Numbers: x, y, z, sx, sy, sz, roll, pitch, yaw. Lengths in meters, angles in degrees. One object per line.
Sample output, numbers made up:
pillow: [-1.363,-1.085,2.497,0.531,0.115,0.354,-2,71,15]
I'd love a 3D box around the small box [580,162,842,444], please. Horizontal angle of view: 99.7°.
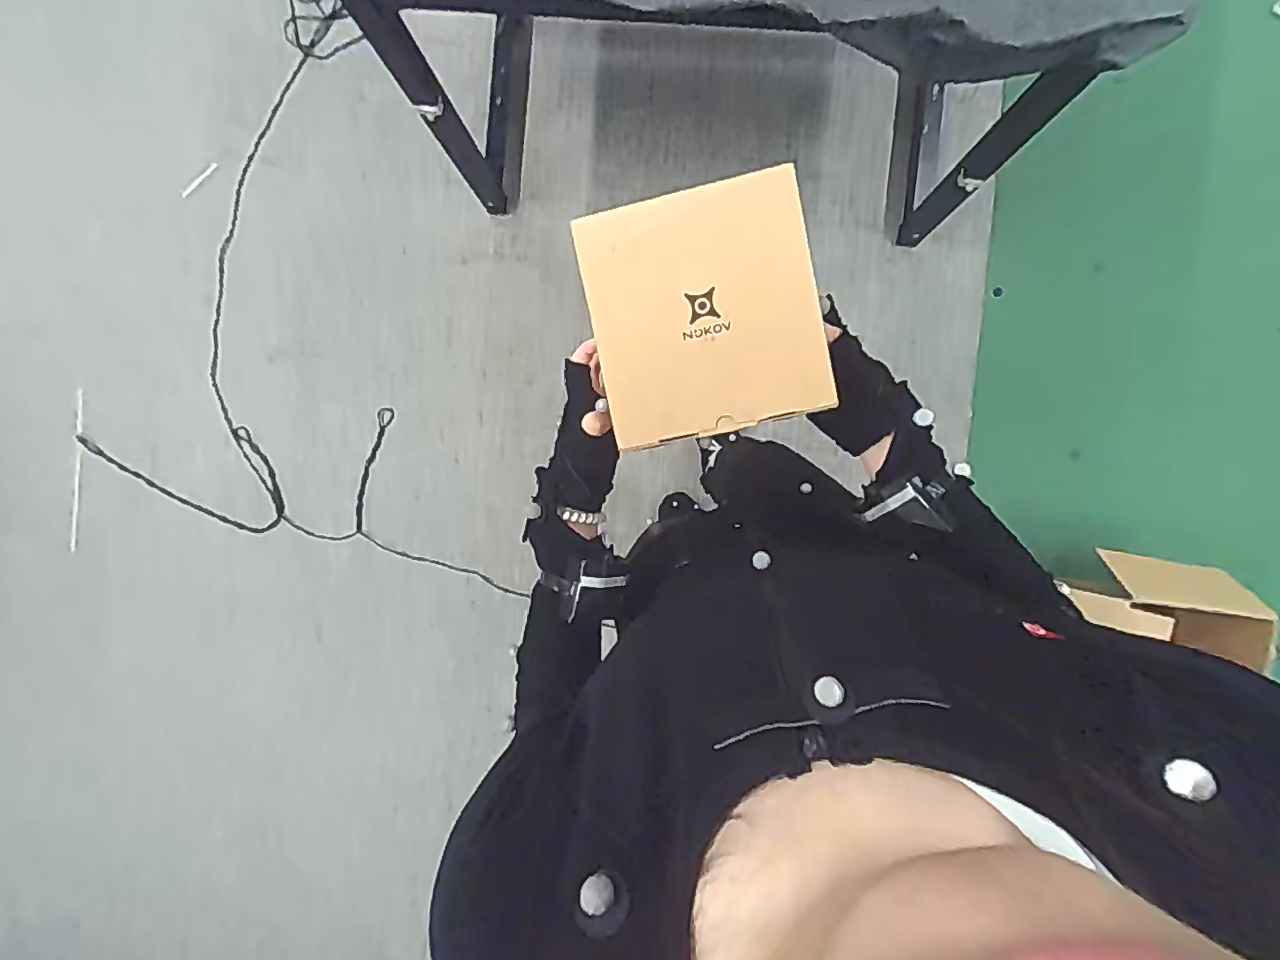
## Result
small box: [0.055,-0.132,0.472,0.168,0.176,0.179,-12,95,5]
